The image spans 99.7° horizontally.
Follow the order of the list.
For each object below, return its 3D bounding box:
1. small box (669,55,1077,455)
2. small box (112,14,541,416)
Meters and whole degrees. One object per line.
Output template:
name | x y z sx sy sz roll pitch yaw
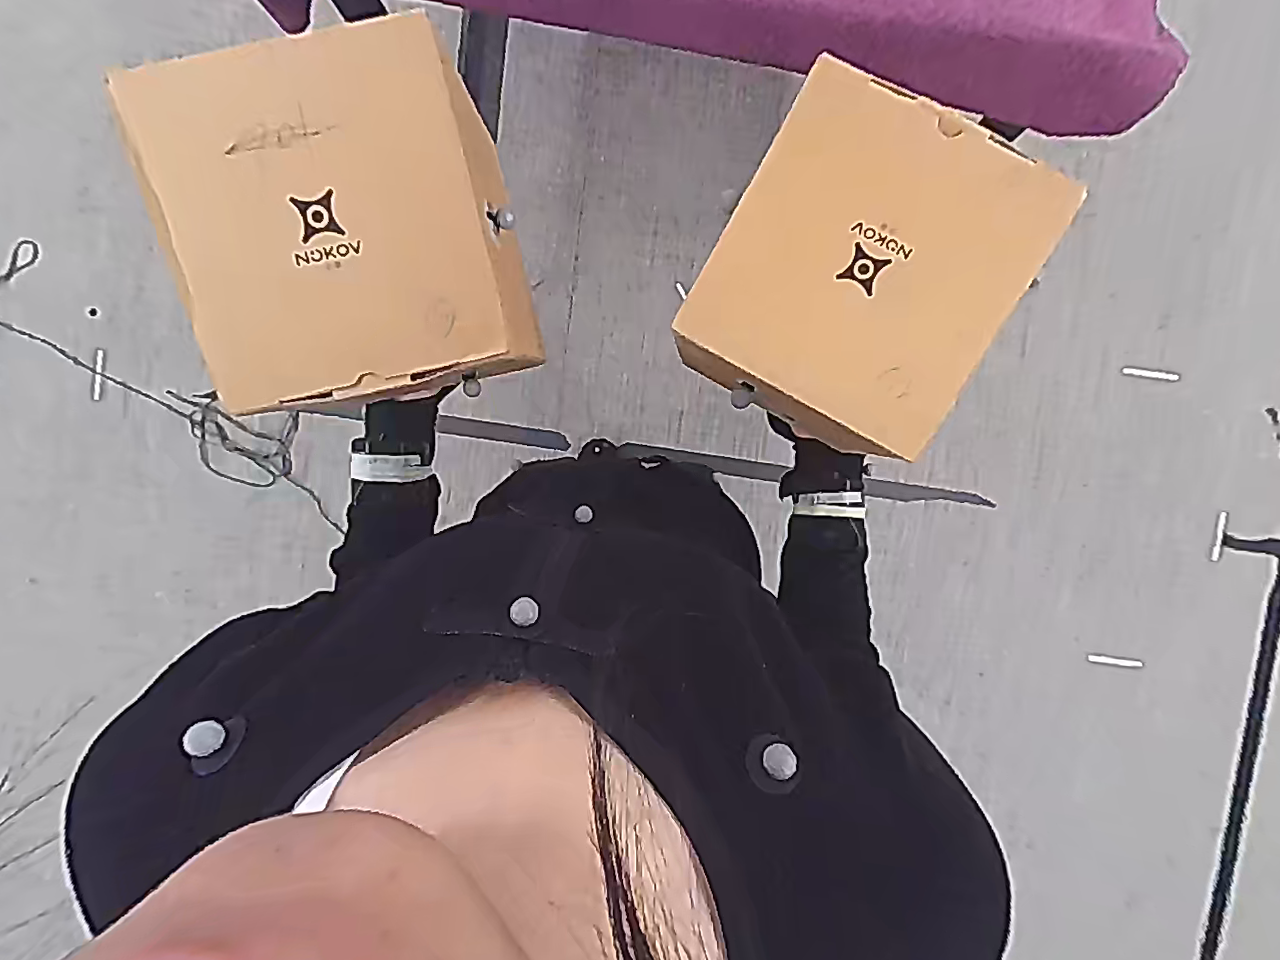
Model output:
small box | 0.139 -0.133 0.389 0.168 0.176 0.179 30 97 4
small box | -0.172 -0.150 0.367 0.168 0.176 0.179 -13 100 -1
